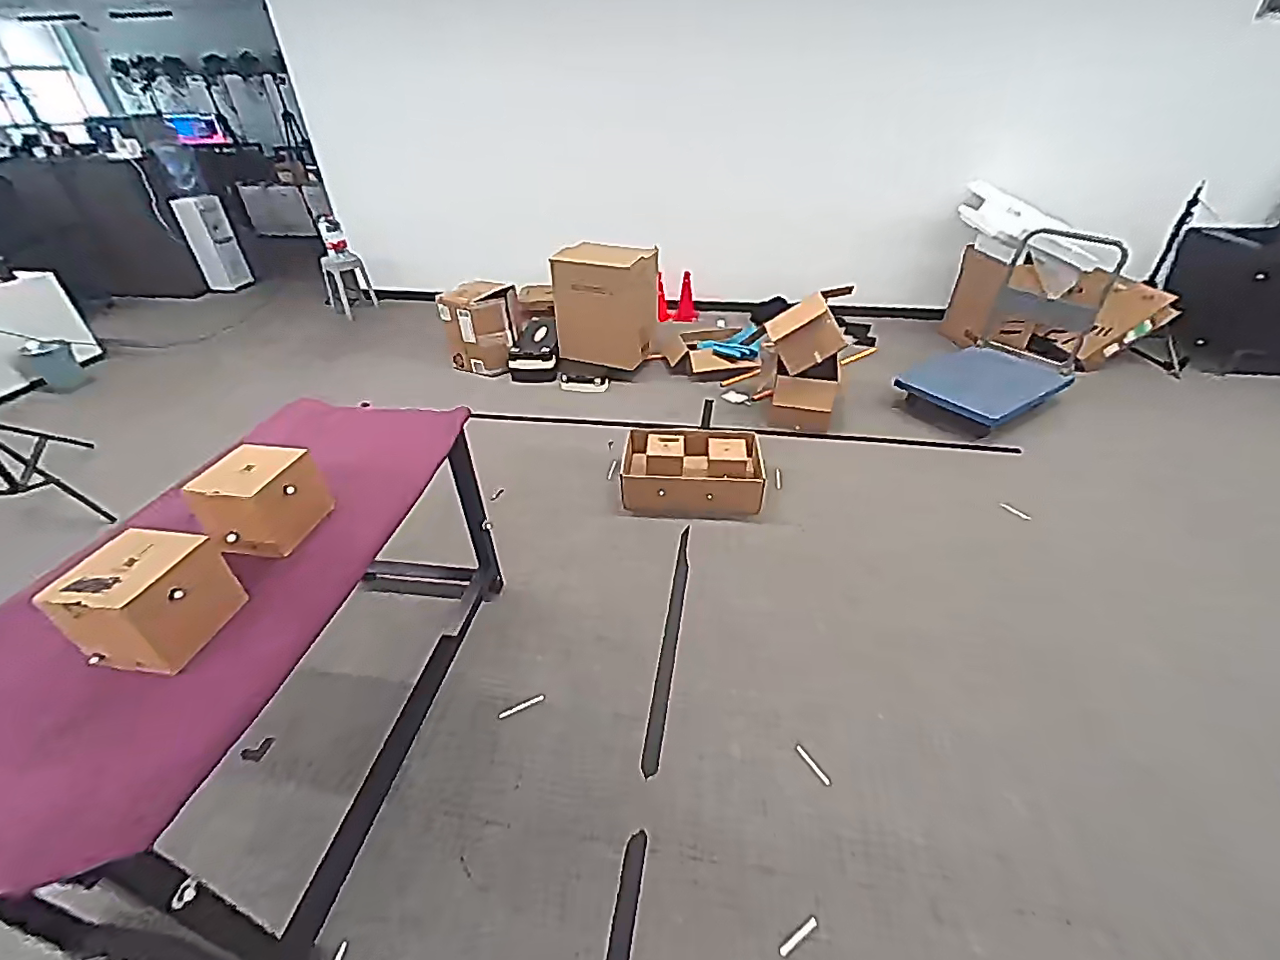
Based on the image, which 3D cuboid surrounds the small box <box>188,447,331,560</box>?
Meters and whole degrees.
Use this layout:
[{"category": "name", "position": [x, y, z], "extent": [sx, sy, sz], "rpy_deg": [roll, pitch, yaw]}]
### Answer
[{"category": "small box", "position": [-0.815, 0.049, 1.185], "extent": [0.168, 0.176, 0.179], "rpy_deg": [5, 37, 9]}]

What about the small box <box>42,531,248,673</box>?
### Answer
[{"category": "small box", "position": [-0.851, 0.214, 0.955], "extent": [0.168, 0.176, 0.179], "rpy_deg": [5, 36, 8]}]

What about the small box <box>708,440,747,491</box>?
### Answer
[{"category": "small box", "position": [0.395, -0.063, 2.448], "extent": [0.168, 0.176, 0.179], "rpy_deg": [3, 35, 5]}]
